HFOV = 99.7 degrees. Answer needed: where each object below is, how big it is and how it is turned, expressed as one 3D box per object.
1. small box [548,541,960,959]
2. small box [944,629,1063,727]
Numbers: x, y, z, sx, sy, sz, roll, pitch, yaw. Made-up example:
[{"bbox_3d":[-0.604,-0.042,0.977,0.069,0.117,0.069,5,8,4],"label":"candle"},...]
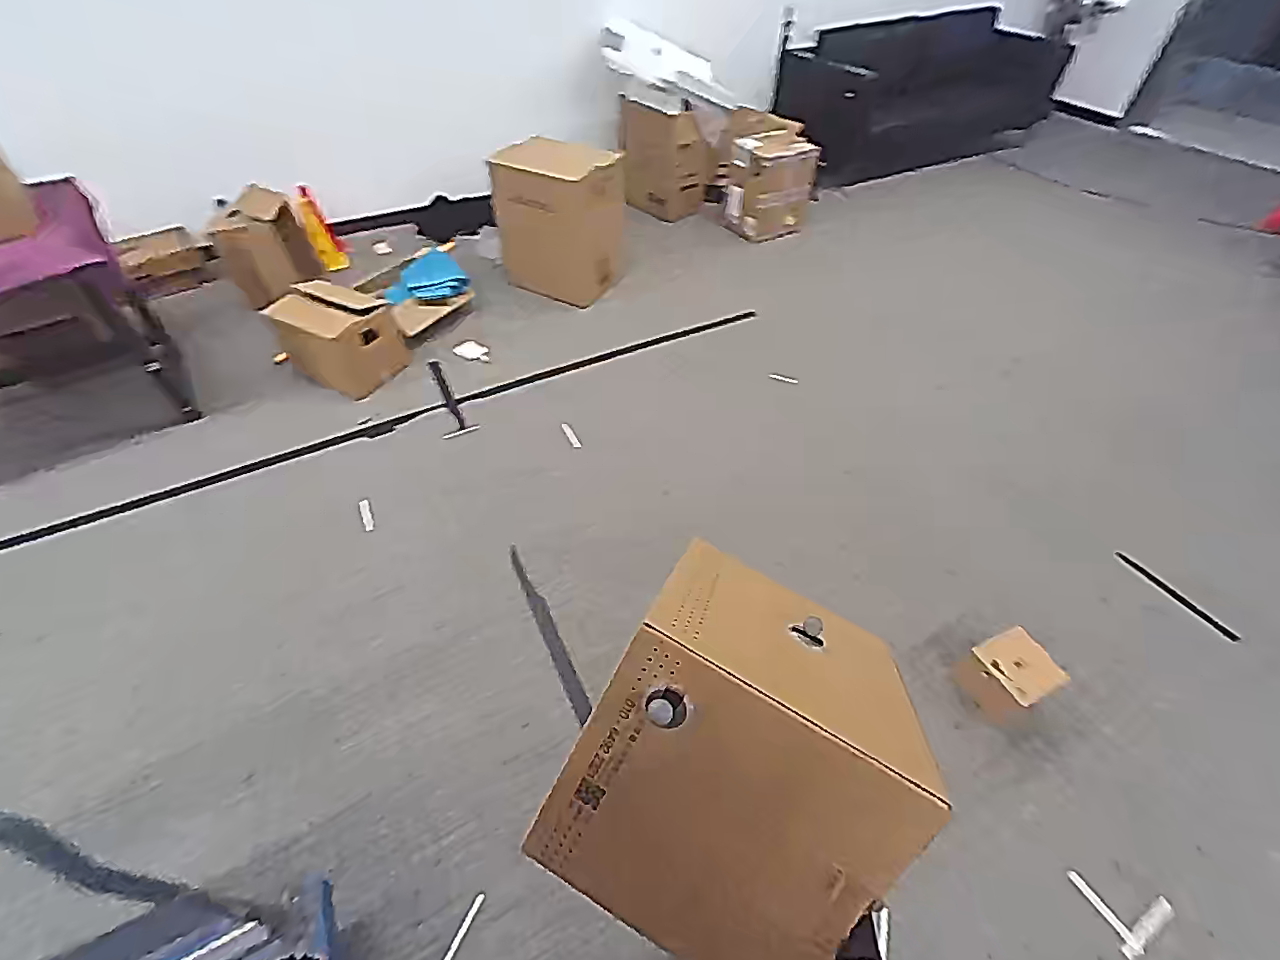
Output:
[{"bbox_3d":[0.064,0.165,0.361,0.176,0.168,0.179,30,15,9],"label":"small box"},{"bbox_3d":[0.980,0.541,1.476,0.179,0.176,0.168,-18,51,-17],"label":"small box"}]
